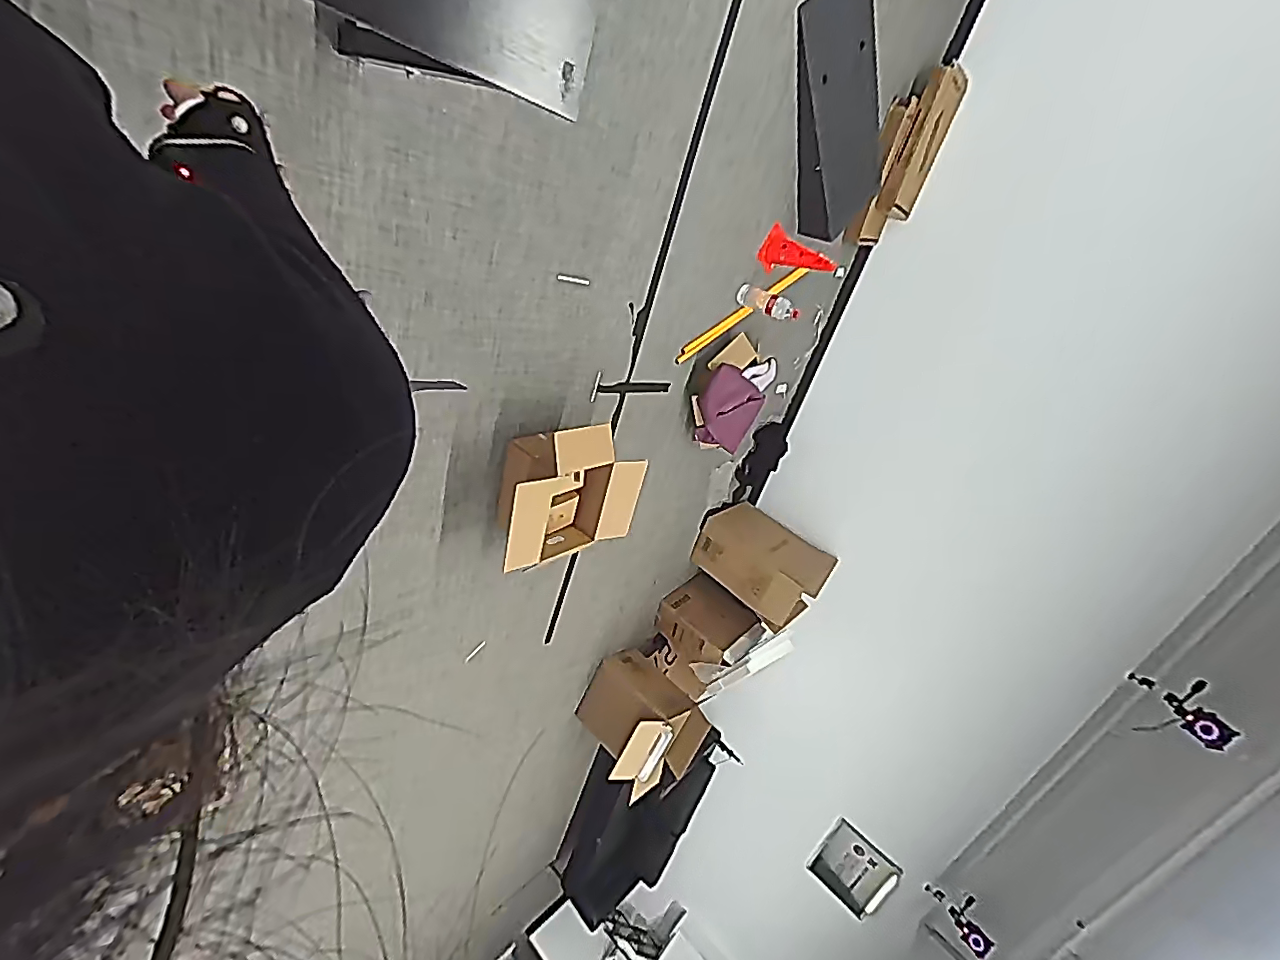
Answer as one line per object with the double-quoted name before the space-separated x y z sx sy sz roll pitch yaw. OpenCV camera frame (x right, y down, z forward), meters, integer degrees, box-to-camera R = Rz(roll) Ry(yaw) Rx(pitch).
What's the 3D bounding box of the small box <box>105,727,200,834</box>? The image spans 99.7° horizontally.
"small box" -1.401 0.855 1.558 0.179 0.176 0.168 -9 125 -49
